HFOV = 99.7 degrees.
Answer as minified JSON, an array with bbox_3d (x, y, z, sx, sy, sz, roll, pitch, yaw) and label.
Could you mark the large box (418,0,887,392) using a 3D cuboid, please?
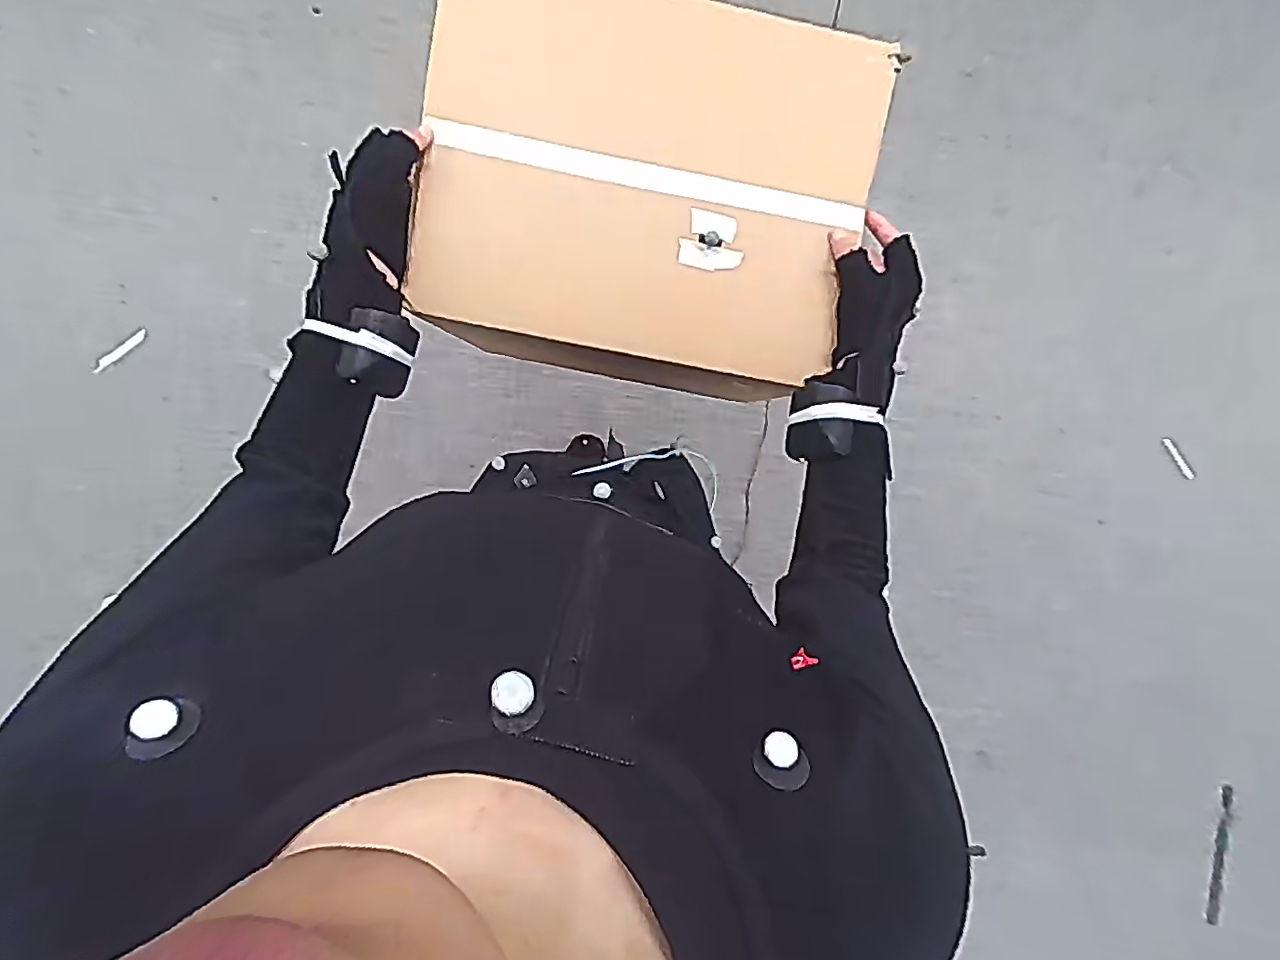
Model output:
[{"bbox_3d":[0.001,-0.298,0.651,0.408,0.320,0.320,11,97,-4],"label":"large box"}]
